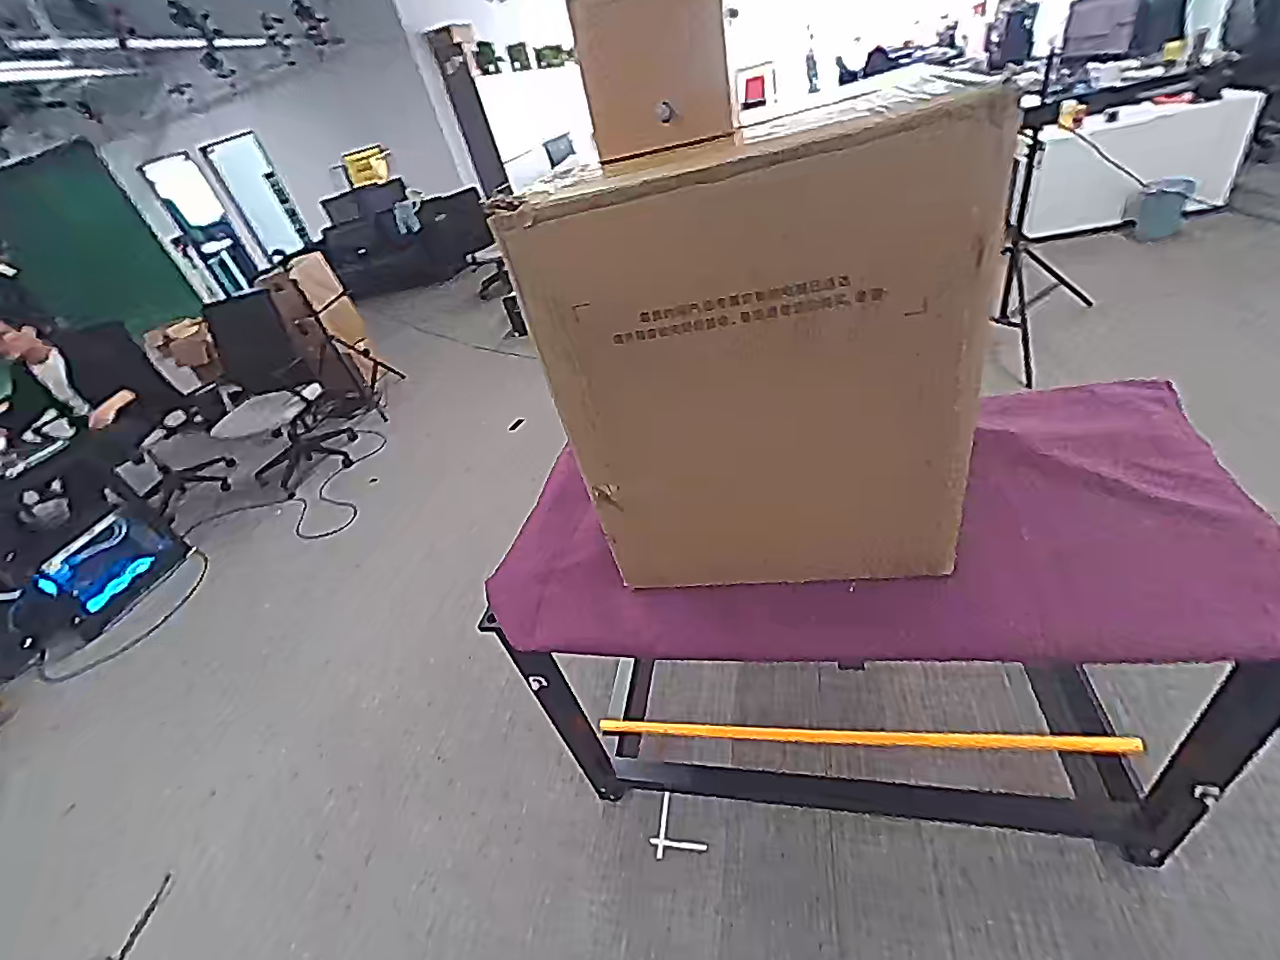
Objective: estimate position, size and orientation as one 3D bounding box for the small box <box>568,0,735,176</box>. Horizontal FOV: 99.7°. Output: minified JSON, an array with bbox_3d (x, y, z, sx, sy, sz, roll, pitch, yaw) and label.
[{"bbox_3d":[0.021,-0.509,0.684,0.179,0.176,0.168,-3,38,17],"label":"small box"}]
